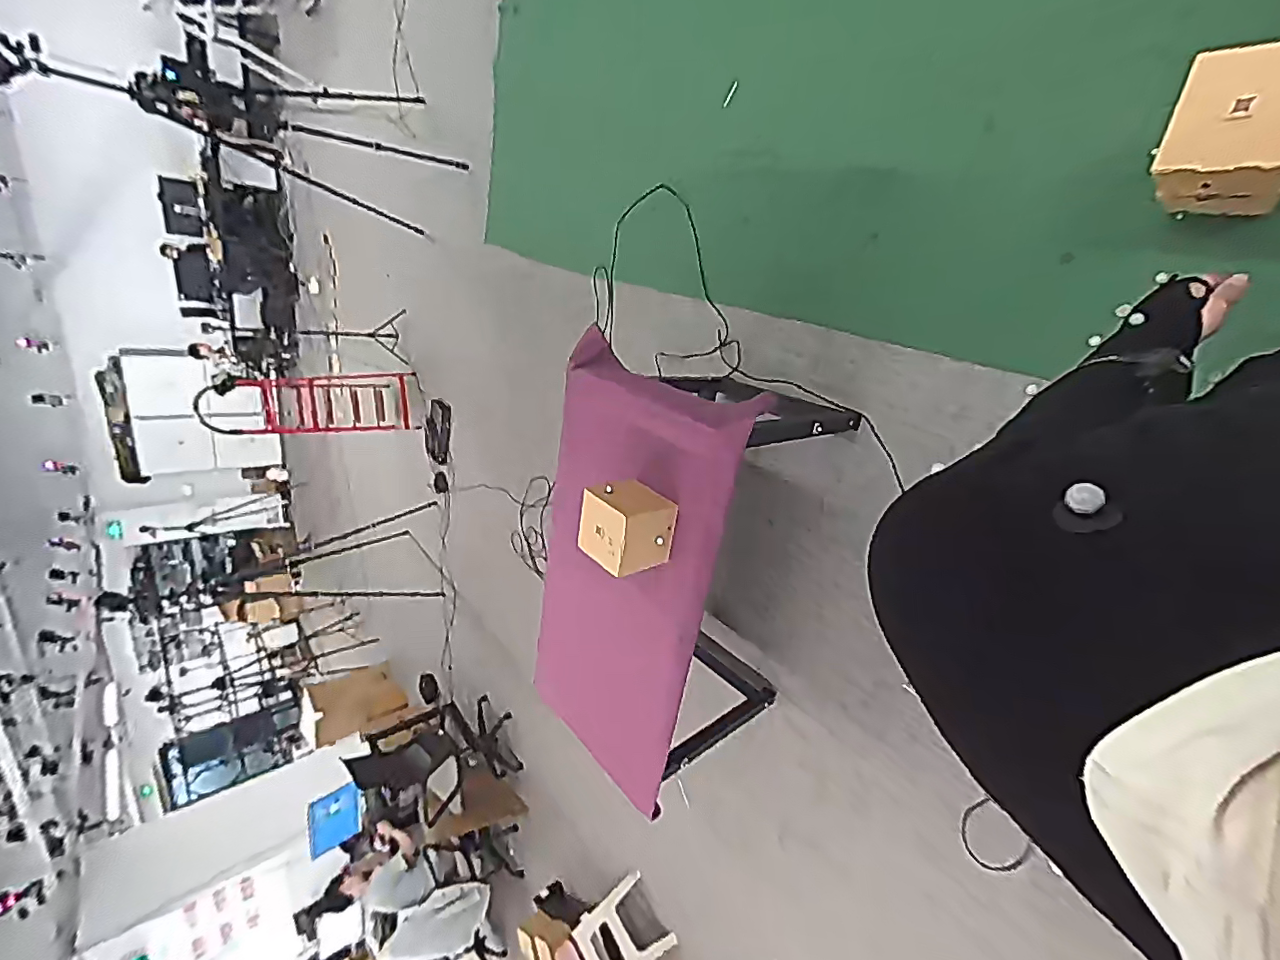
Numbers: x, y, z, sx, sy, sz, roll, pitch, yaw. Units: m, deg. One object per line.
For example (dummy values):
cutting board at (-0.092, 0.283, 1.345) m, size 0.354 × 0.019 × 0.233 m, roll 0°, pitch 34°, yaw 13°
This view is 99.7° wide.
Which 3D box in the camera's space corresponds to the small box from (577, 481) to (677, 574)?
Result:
small box at (-0.035, 0.111, 1.363) m, size 0.179 × 0.176 × 0.168 m, roll 30°, pitch 120°, yaw 42°

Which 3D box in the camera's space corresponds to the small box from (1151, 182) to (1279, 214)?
small box at (1.126, -0.614, 1.027) m, size 0.168 × 0.176 × 0.179 m, roll 28°, pitch 117°, yaw 41°

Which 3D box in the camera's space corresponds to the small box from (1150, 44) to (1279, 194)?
small box at (1.010, -0.600, 0.914) m, size 0.168 × 0.176 × 0.179 m, roll 27°, pitch 117°, yaw 42°
